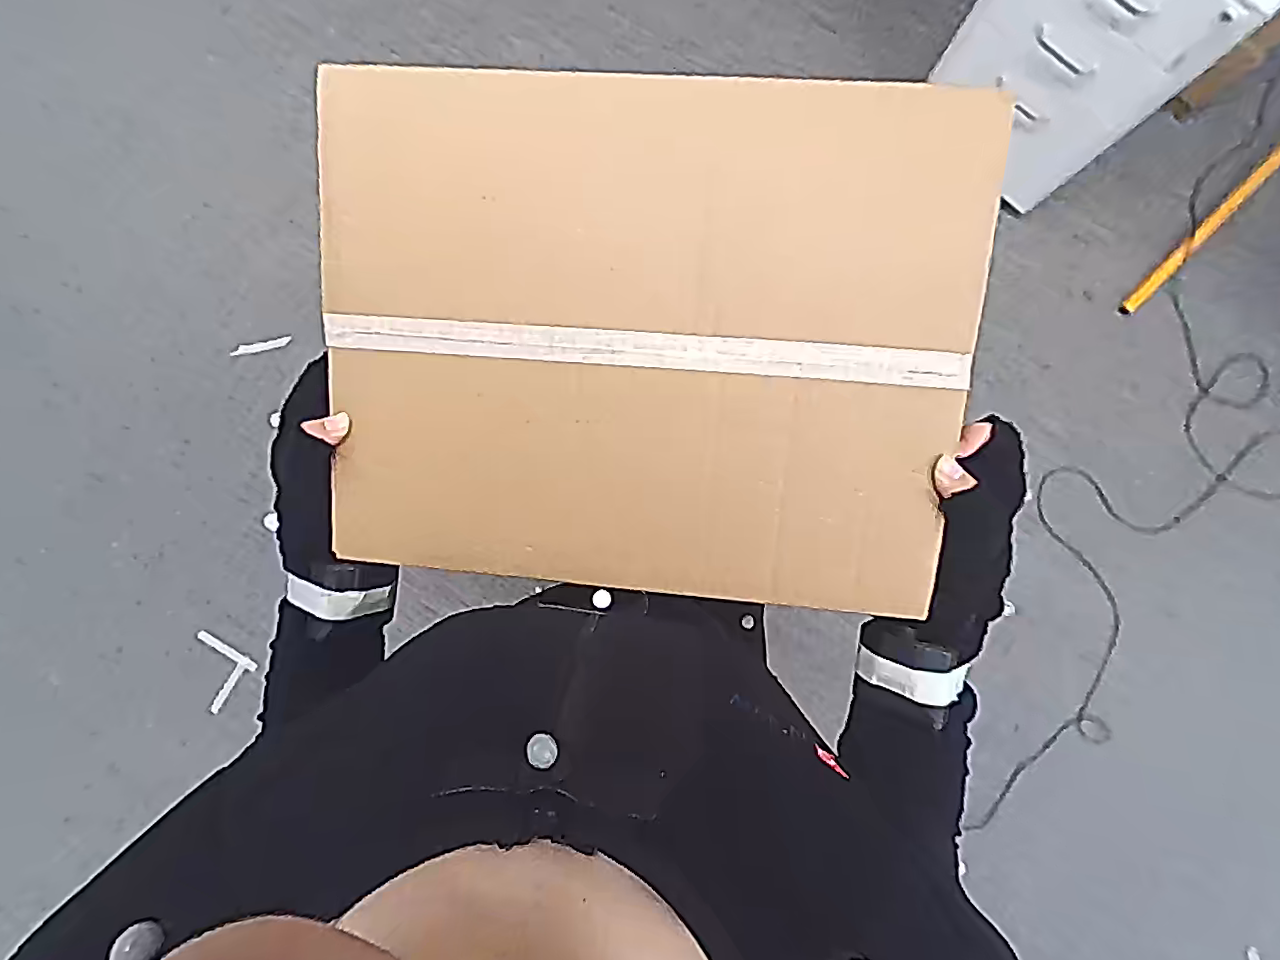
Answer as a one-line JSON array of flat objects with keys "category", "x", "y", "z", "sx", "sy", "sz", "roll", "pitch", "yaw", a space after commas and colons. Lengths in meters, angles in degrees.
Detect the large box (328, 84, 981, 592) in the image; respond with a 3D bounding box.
[{"category": "large box", "x": 0.004, "y": -0.109, "z": 0.496, "sx": 0.408, "sy": 0.320, "sz": 0.320, "roll": 4, "pitch": 101, "yaw": 4}]
